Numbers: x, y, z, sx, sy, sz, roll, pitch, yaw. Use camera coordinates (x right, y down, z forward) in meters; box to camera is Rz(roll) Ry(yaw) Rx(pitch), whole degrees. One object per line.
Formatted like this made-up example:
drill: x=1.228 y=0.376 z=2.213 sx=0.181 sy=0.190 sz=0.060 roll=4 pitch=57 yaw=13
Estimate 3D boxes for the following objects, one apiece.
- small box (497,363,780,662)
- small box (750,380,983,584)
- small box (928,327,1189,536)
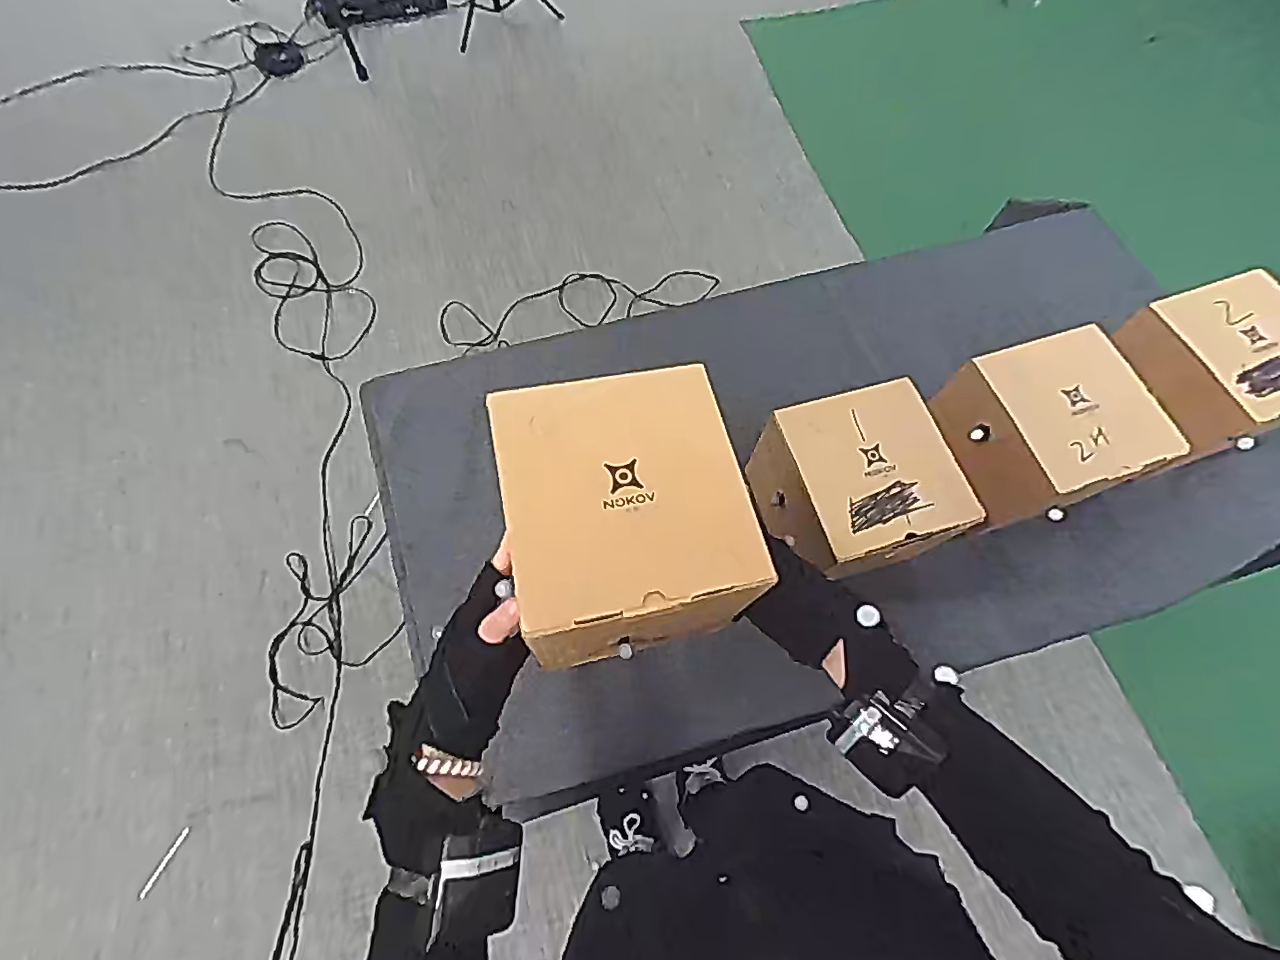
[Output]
small box: x=-0.015 y=0.033 z=0.439 sx=0.168 sy=0.176 sz=0.179 roll=-10 pitch=67 yaw=-11
small box: x=0.245 y=0.014 z=0.636 sx=0.168 sy=0.176 sz=0.179 roll=-14 pitch=68 yaw=-6
small box: x=0.476 y=-0.052 z=0.664 sx=0.168 sy=0.176 sz=0.179 roll=-16 pitch=69 yaw=-6
